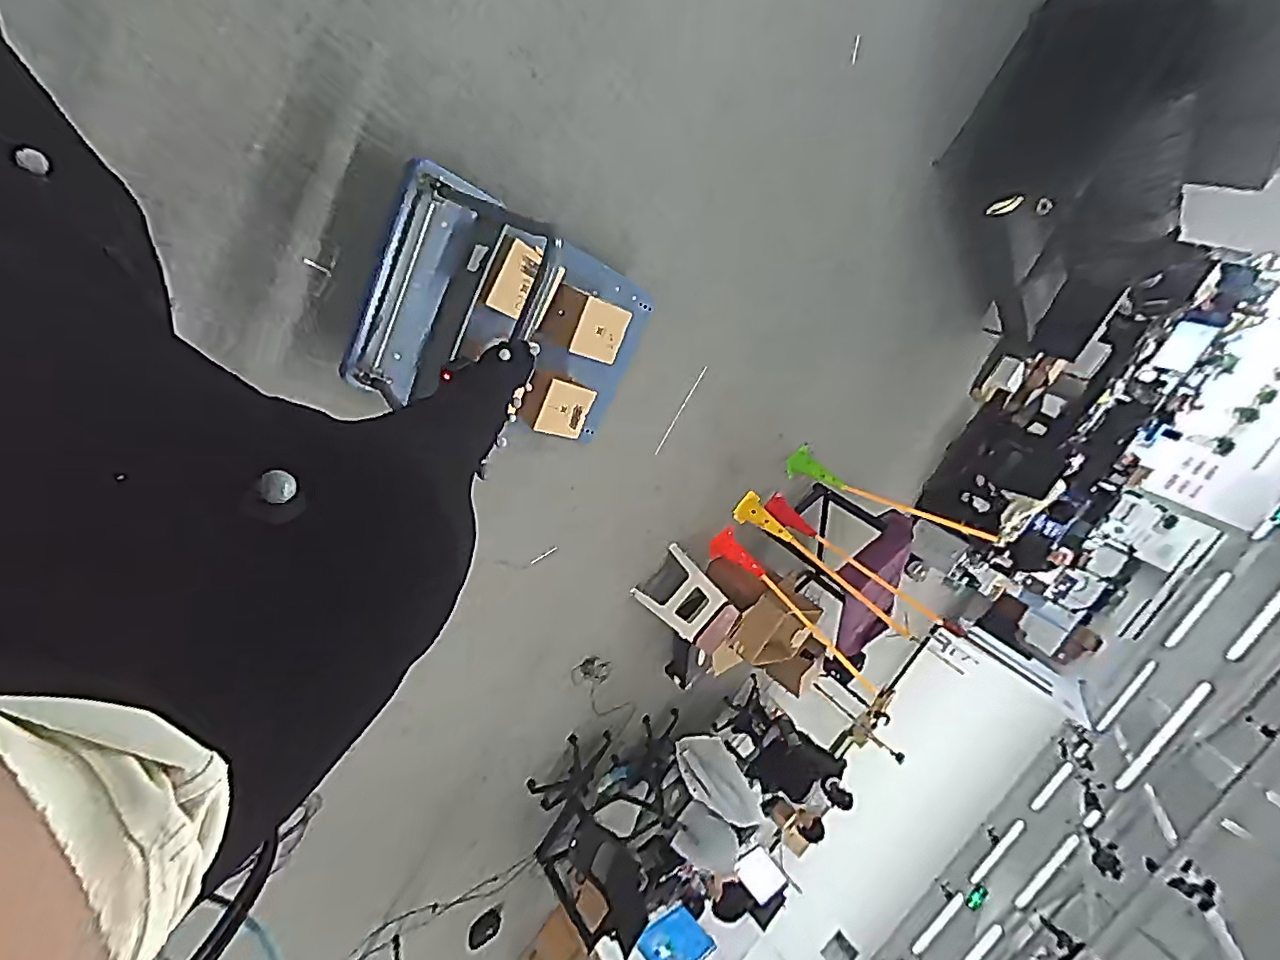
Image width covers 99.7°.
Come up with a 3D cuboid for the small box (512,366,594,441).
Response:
[{"bbox_3d":[-0.280,-0.239,1.679,0.179,0.176,0.168,9,111,-47],"label":"small box"}]

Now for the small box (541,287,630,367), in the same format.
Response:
[{"bbox_3d":[-0.169,-0.461,1.619,0.179,0.176,0.168,6,115,-47],"label":"small box"}]

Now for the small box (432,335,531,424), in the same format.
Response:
[{"bbox_3d":[-0.439,-0.279,1.492,0.179,0.176,0.168,14,108,-48],"label":"small box"}]
